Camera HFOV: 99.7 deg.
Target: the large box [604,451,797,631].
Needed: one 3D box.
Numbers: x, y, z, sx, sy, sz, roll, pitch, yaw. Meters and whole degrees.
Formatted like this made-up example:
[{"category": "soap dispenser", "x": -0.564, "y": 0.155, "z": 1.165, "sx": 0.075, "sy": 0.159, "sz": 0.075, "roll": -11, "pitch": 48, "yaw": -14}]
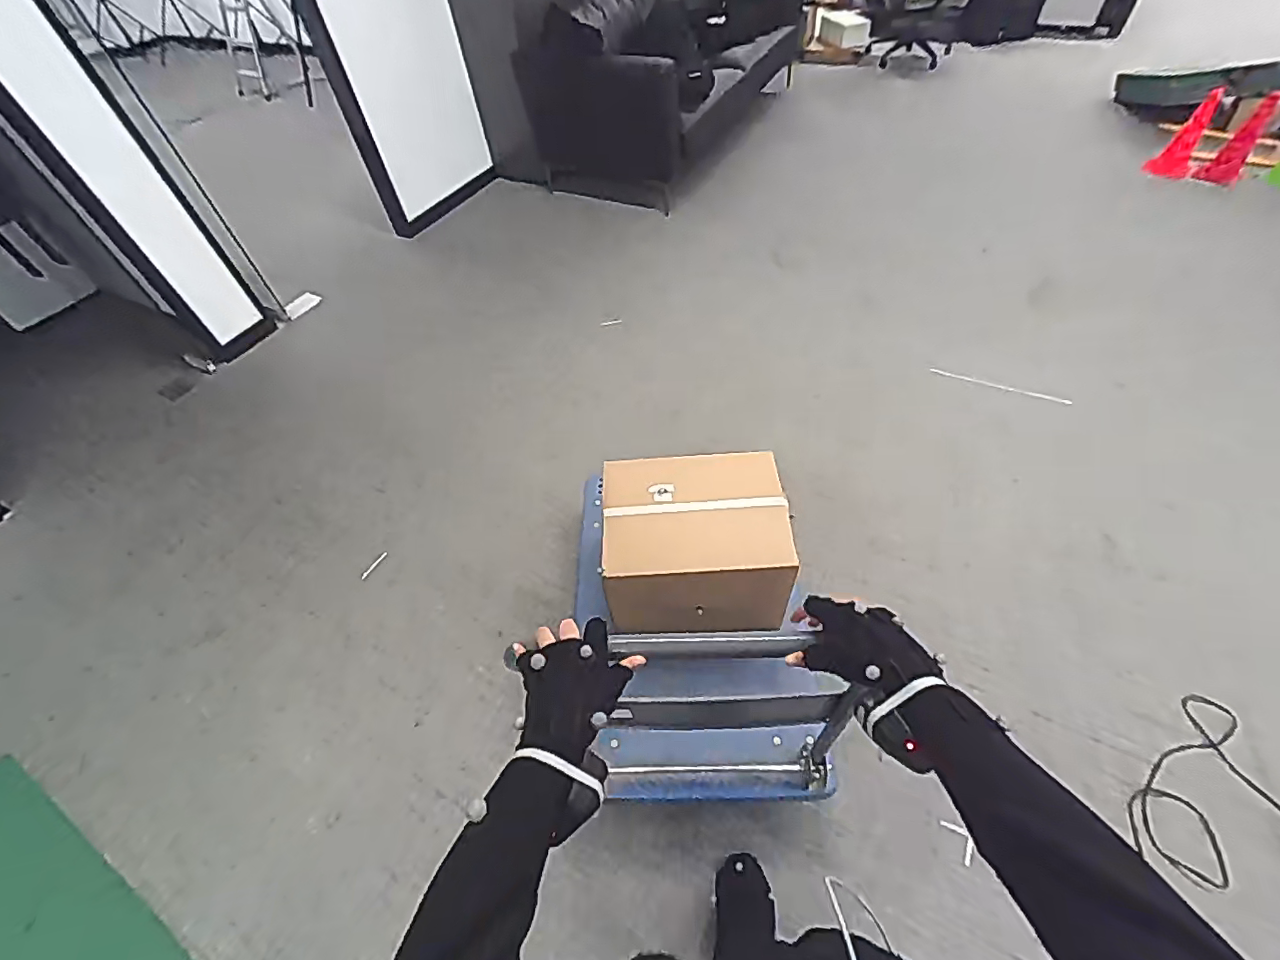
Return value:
[{"category": "large box", "x": 0.132, "y": 0.157, "z": 1.318, "sx": 0.408, "sy": 0.320, "sz": 0.320, "roll": -4, "pitch": 51, "yaw": 3}]
